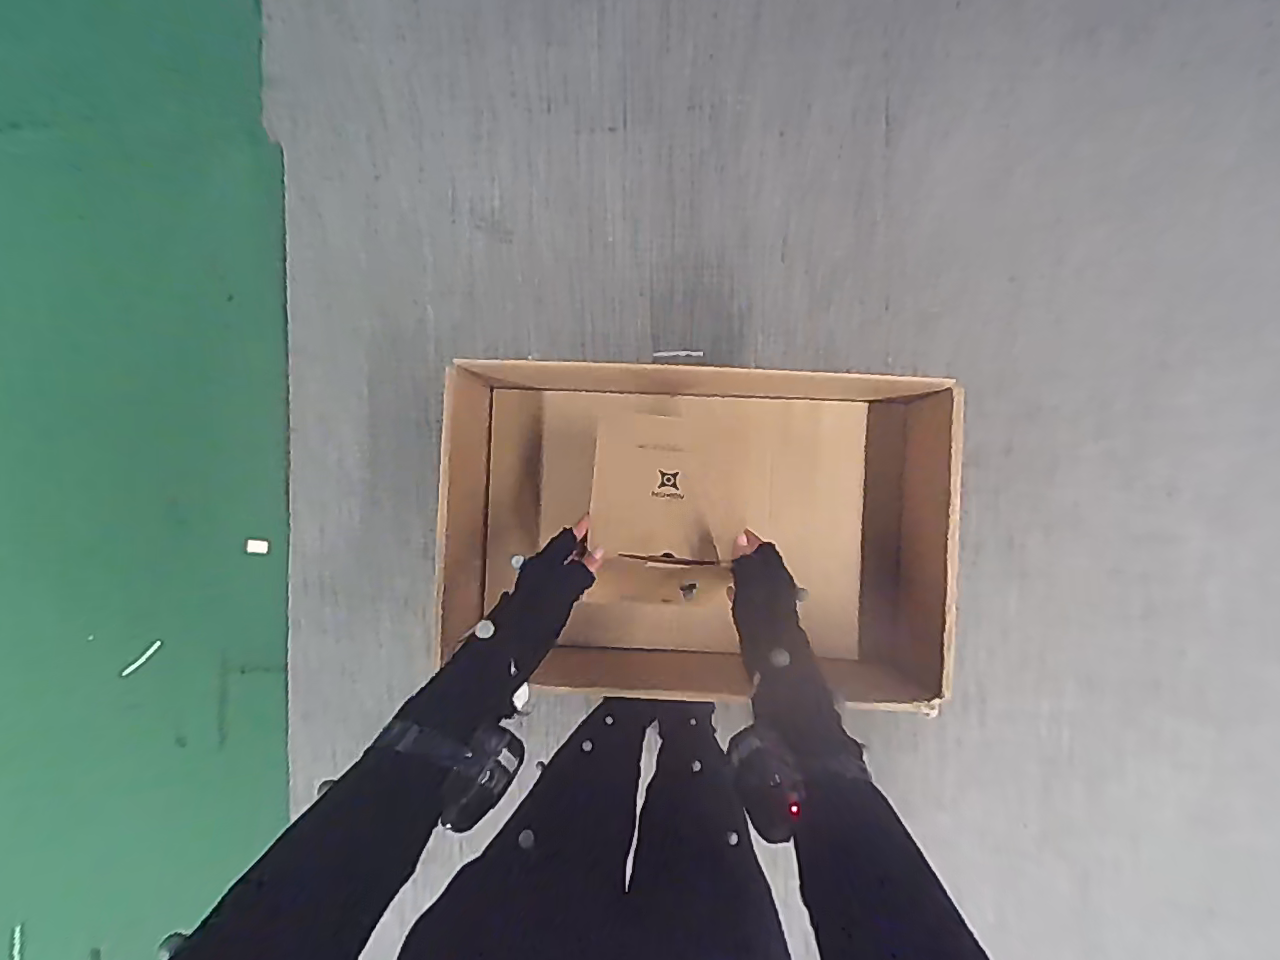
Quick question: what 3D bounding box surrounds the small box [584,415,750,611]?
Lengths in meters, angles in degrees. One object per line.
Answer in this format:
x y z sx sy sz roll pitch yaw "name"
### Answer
0.023 0.048 0.644 0.168 0.176 0.179 5 59 -6 "small box"
